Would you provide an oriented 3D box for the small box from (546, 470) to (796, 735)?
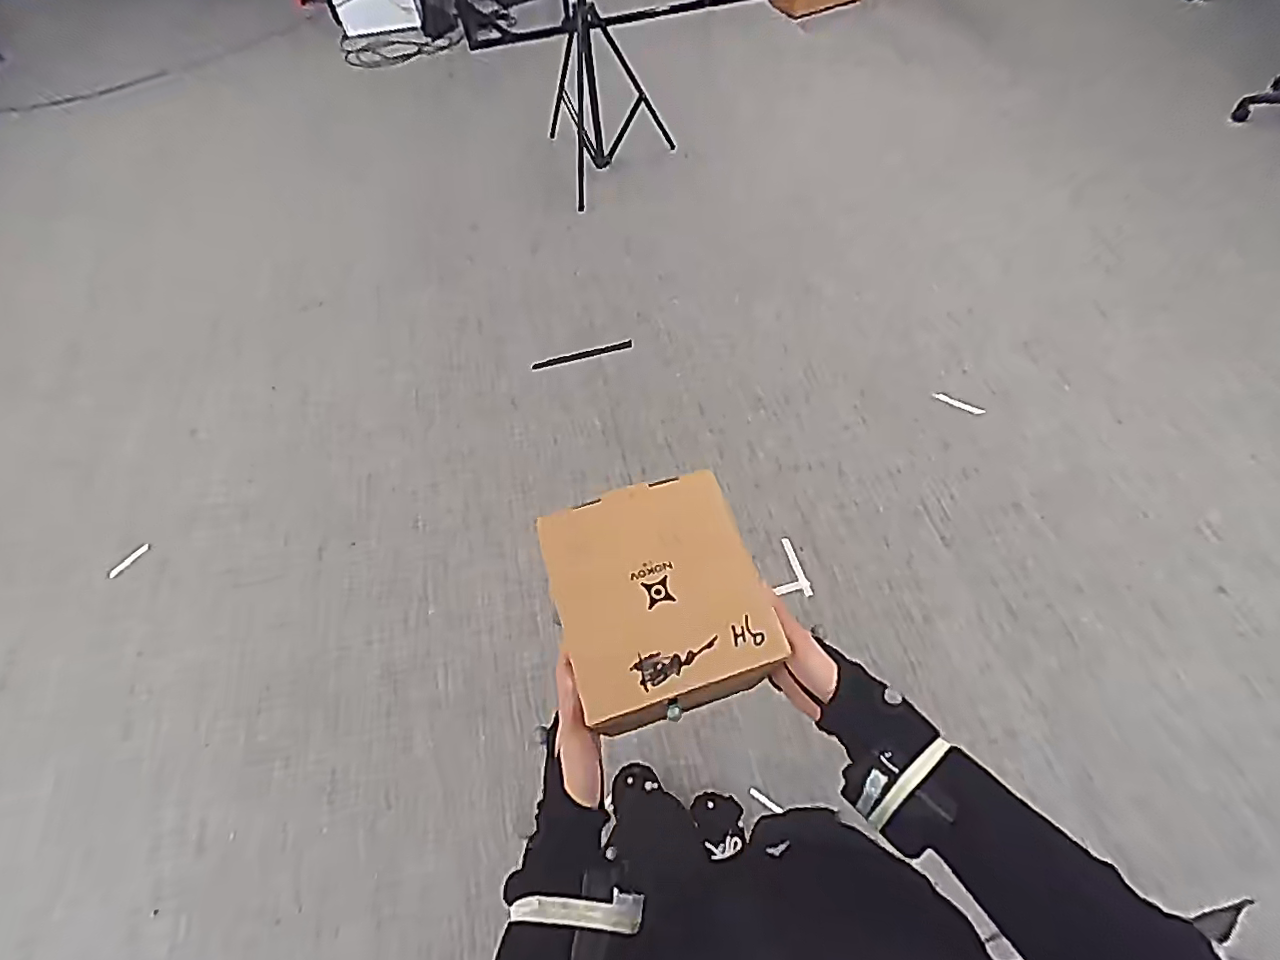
[{"bbox_3d":[0.019,0.121,0.511,0.168,0.176,0.179,-16,62,-7],"label":"small box"}]
